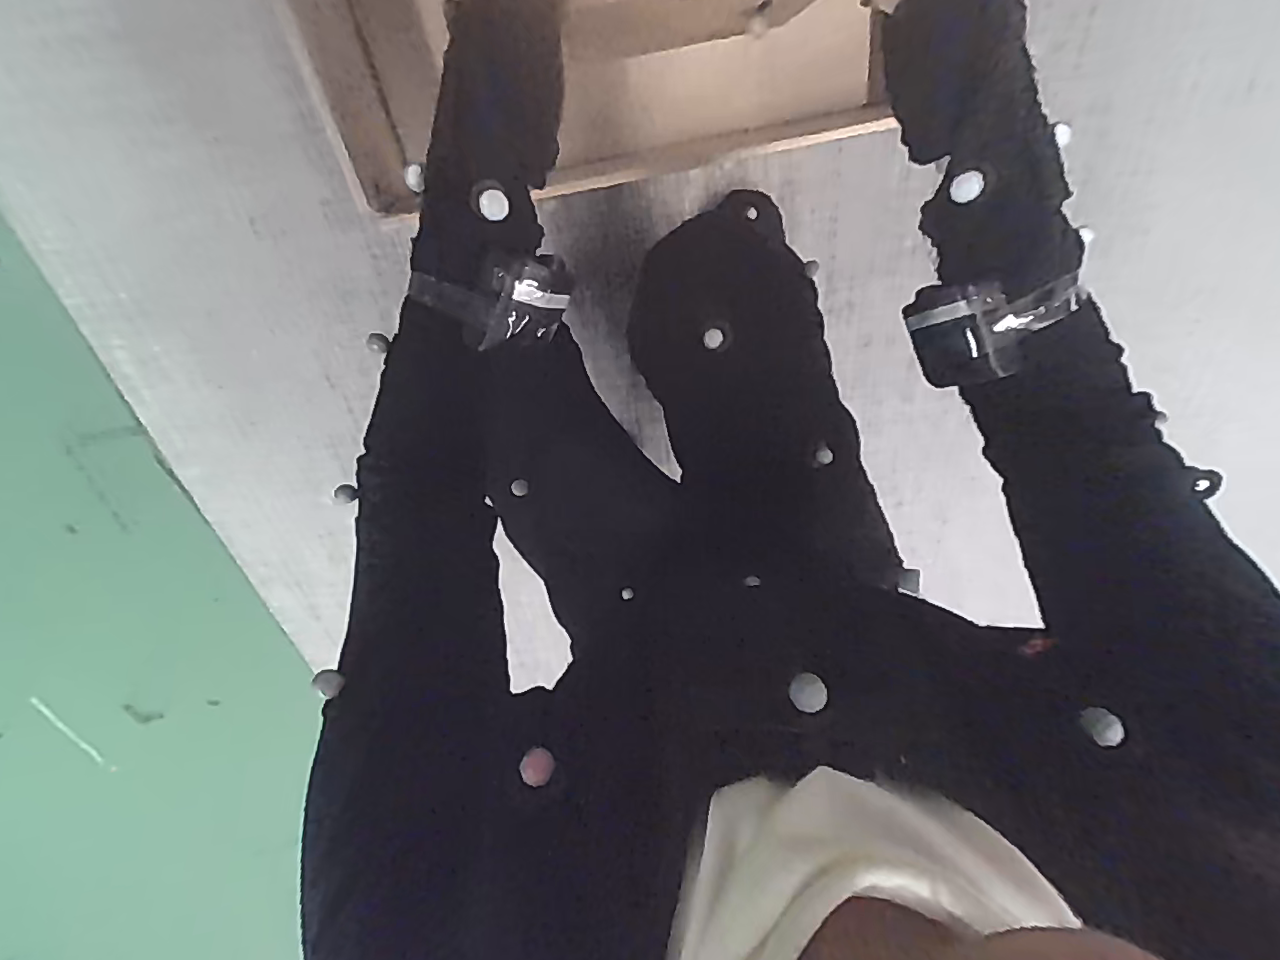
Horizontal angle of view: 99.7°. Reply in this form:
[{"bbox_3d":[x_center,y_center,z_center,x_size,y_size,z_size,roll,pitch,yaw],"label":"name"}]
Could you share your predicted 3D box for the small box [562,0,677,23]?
[{"bbox_3d":[0.036,-0.281,0.167,0.179,0.176,0.168,-15,120,2],"label":"small box"}]
